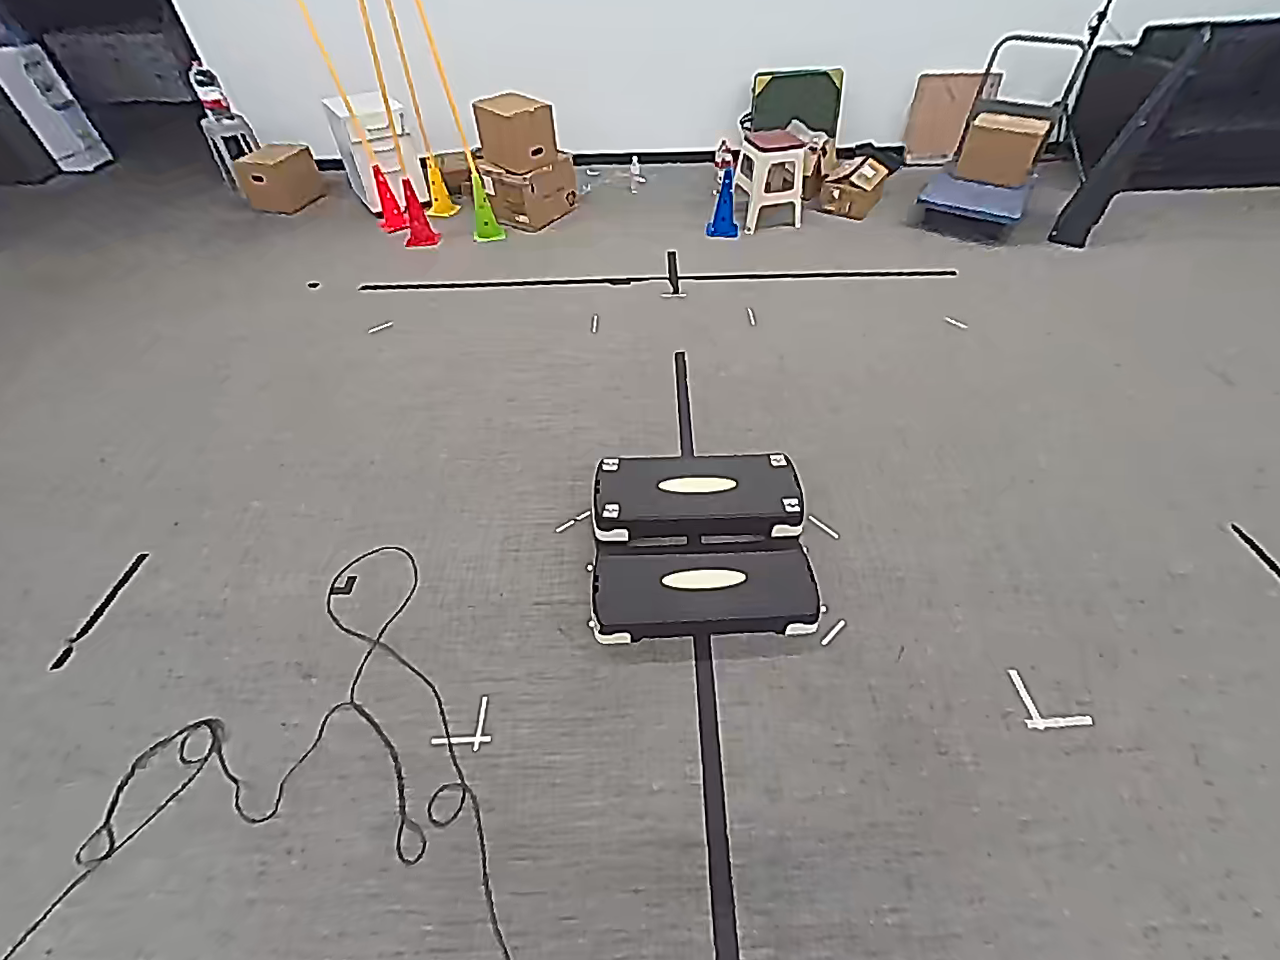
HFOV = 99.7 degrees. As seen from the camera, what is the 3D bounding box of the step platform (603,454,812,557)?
[{"bbox_3d":[0.216,0.076,1.813,0.684,0.204,0.286,-2,47,-2],"label":"step platform"}]
